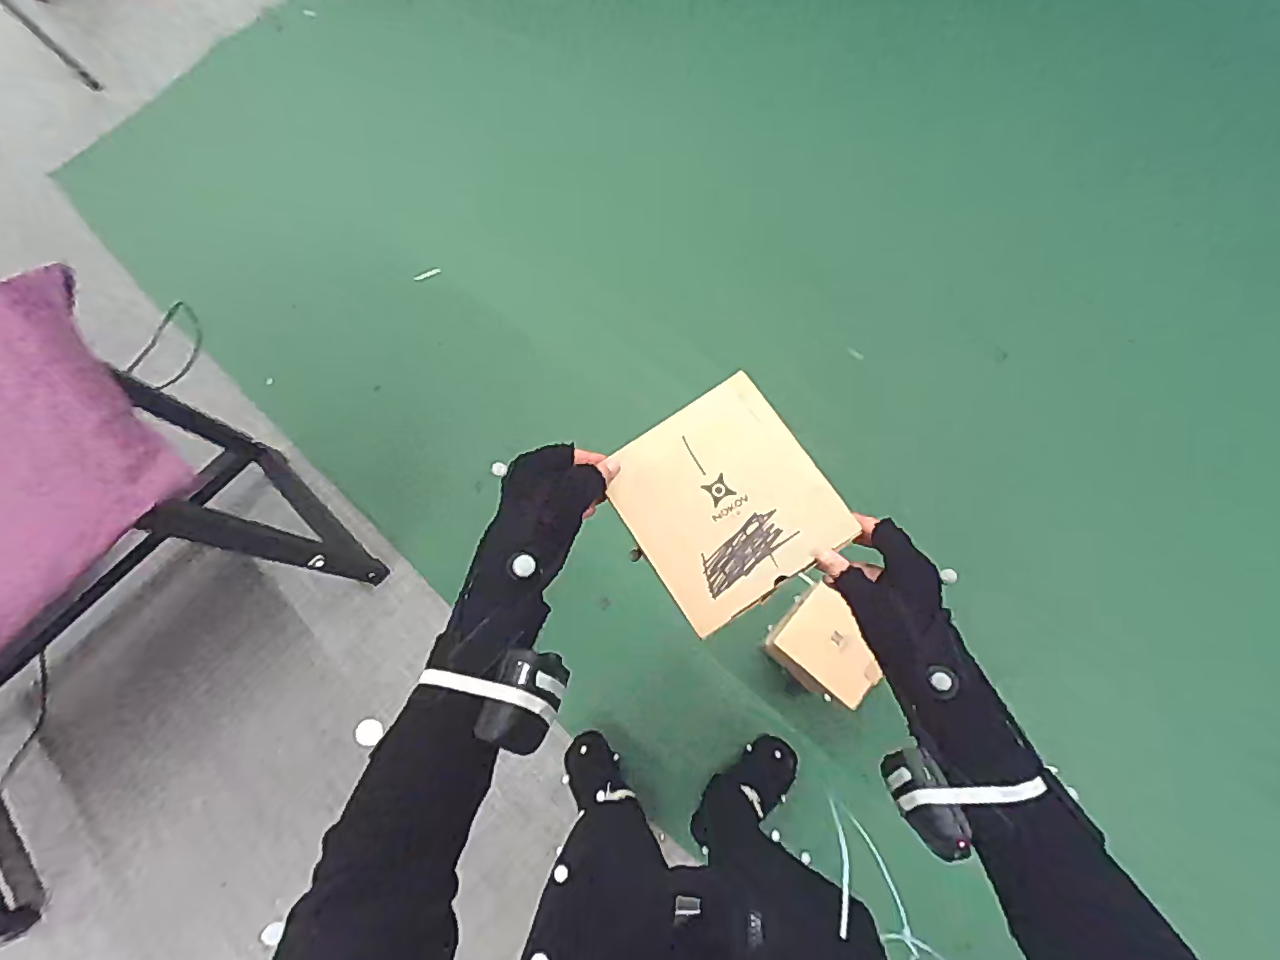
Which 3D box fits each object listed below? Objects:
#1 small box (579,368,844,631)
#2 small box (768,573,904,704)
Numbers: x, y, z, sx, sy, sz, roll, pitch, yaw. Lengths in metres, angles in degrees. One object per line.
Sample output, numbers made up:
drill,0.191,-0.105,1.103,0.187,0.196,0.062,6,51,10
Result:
small box,0.065,0.027,0.540,0.168,0.176,0.179,-33,77,-3
small box,0.369,0.312,1.059,0.179,0.176,0.168,39,81,17
